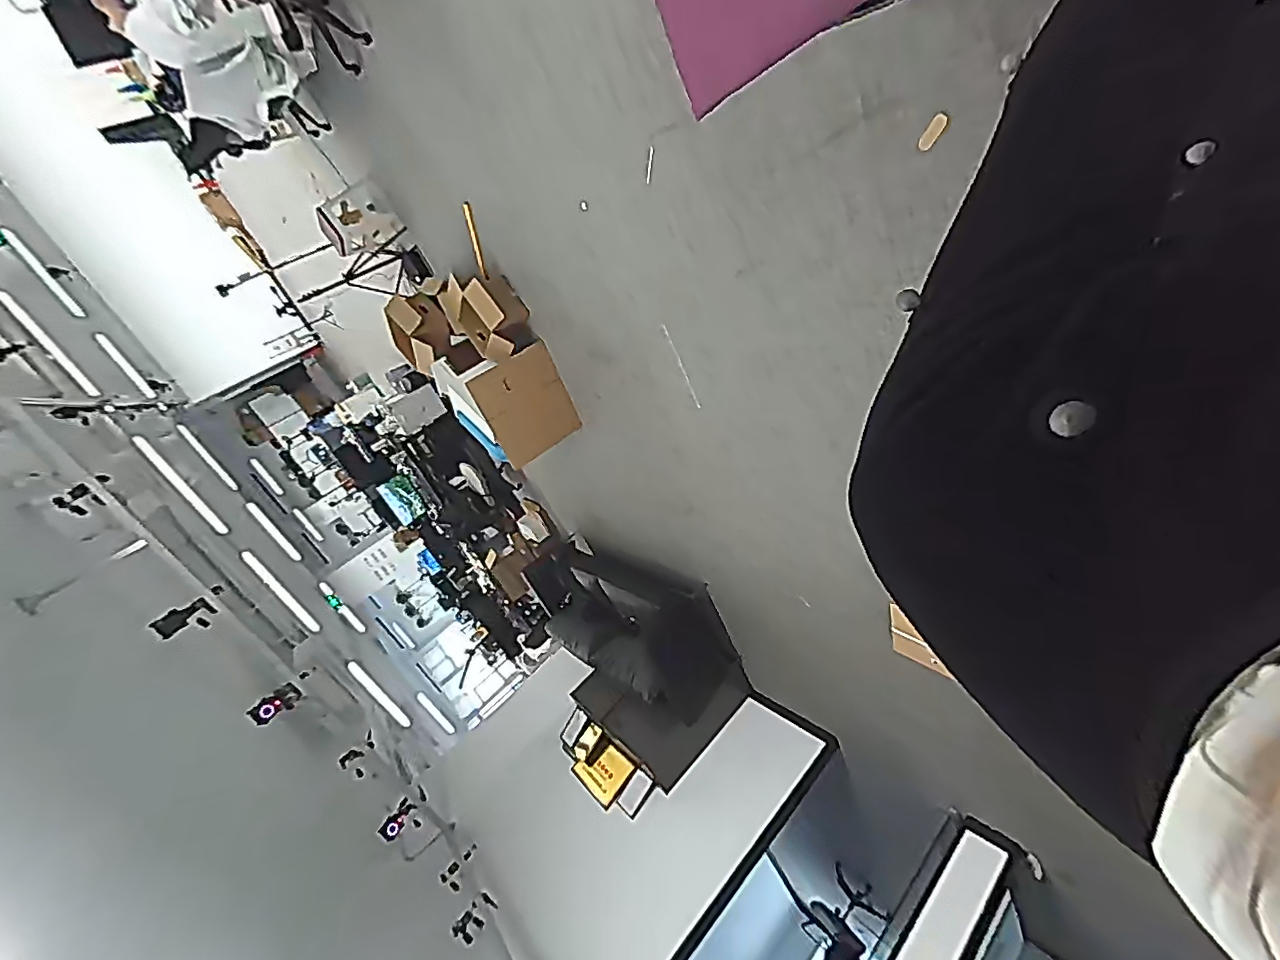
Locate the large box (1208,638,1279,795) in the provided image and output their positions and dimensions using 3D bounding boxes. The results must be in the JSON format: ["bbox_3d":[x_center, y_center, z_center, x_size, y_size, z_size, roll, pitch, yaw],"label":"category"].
[{"bbox_3d":[1.767,0.594,1.315,0.320,0.320,0.408,48,154,5],"label":"large box"}]
